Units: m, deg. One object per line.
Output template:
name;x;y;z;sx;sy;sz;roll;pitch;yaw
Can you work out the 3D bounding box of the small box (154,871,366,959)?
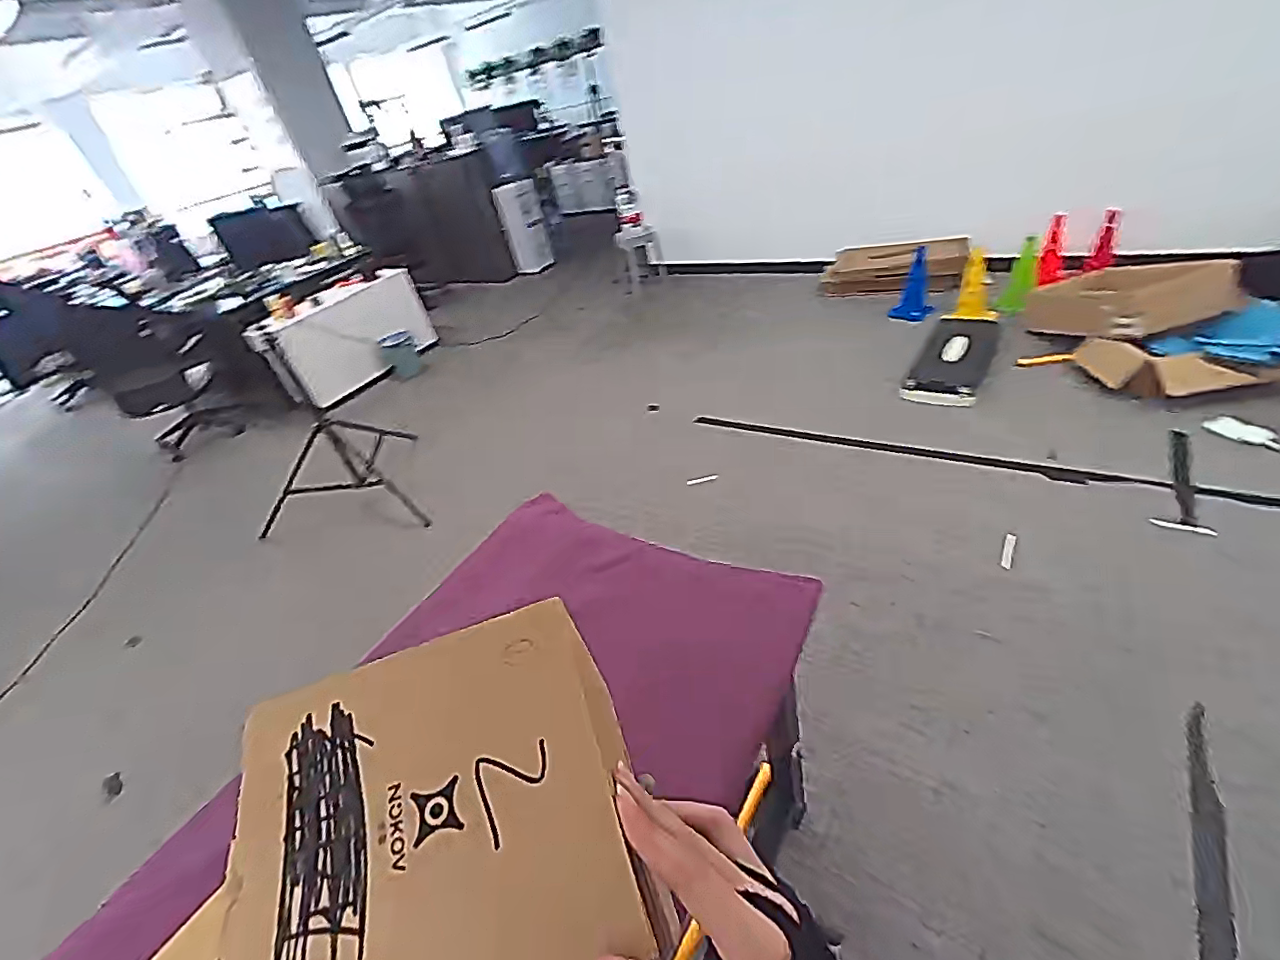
small box;-0.347;0.506;0.473;0.168;0.176;0.179;13;44;33
